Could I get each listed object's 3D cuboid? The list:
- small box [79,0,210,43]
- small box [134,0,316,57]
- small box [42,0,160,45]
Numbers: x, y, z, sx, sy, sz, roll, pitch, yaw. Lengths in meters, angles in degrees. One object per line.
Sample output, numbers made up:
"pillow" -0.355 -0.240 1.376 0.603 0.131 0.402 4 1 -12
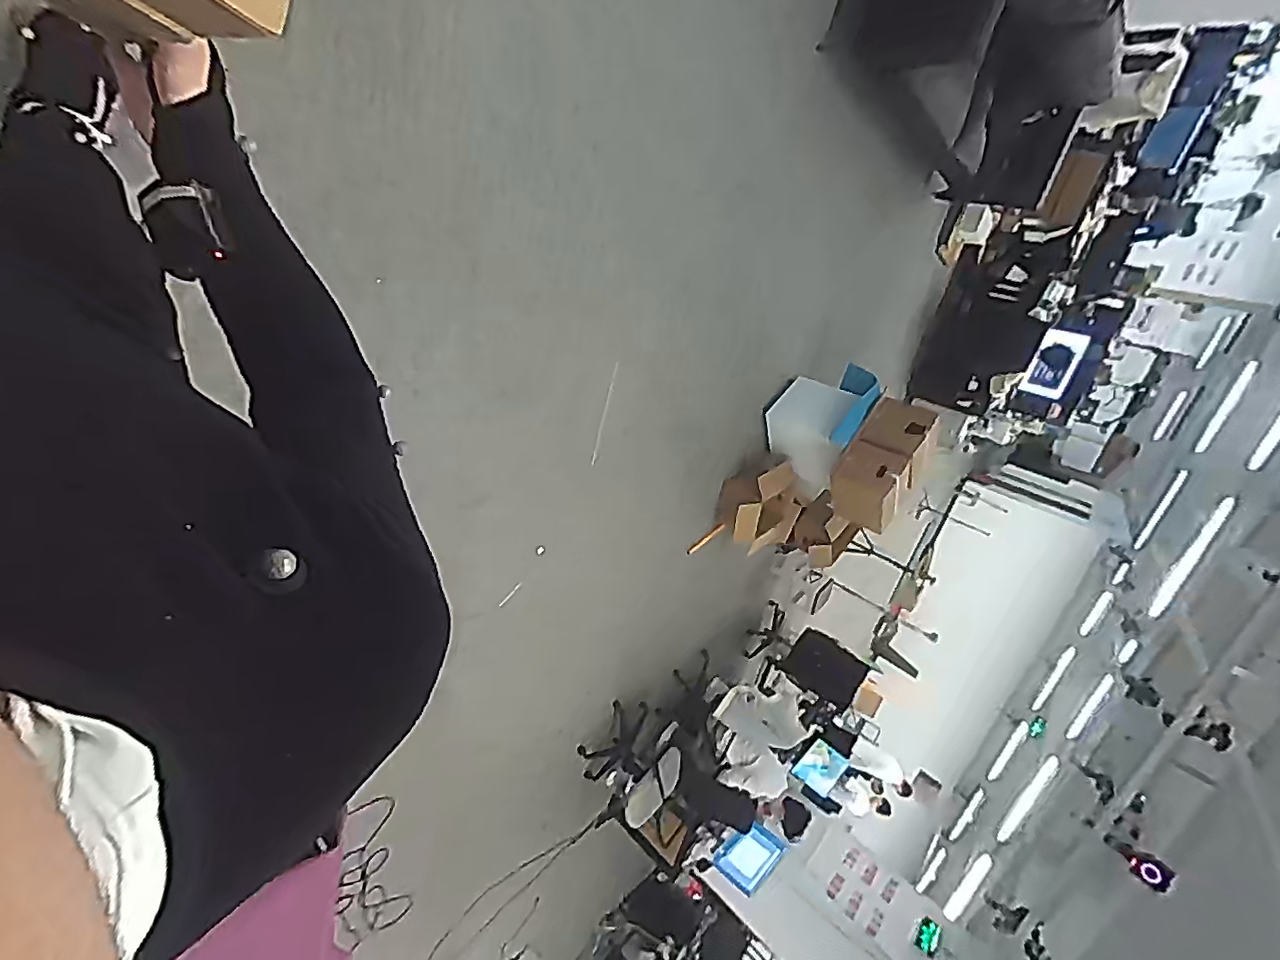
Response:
"small box" -0.357 -0.403 0.321 0.179 0.176 0.168 12 108 -53
"small box" -0.242 -0.328 0.230 0.179 0.176 0.168 10 110 -53
"small box" -0.470 -0.477 0.414 0.179 0.176 0.168 15 106 -55
